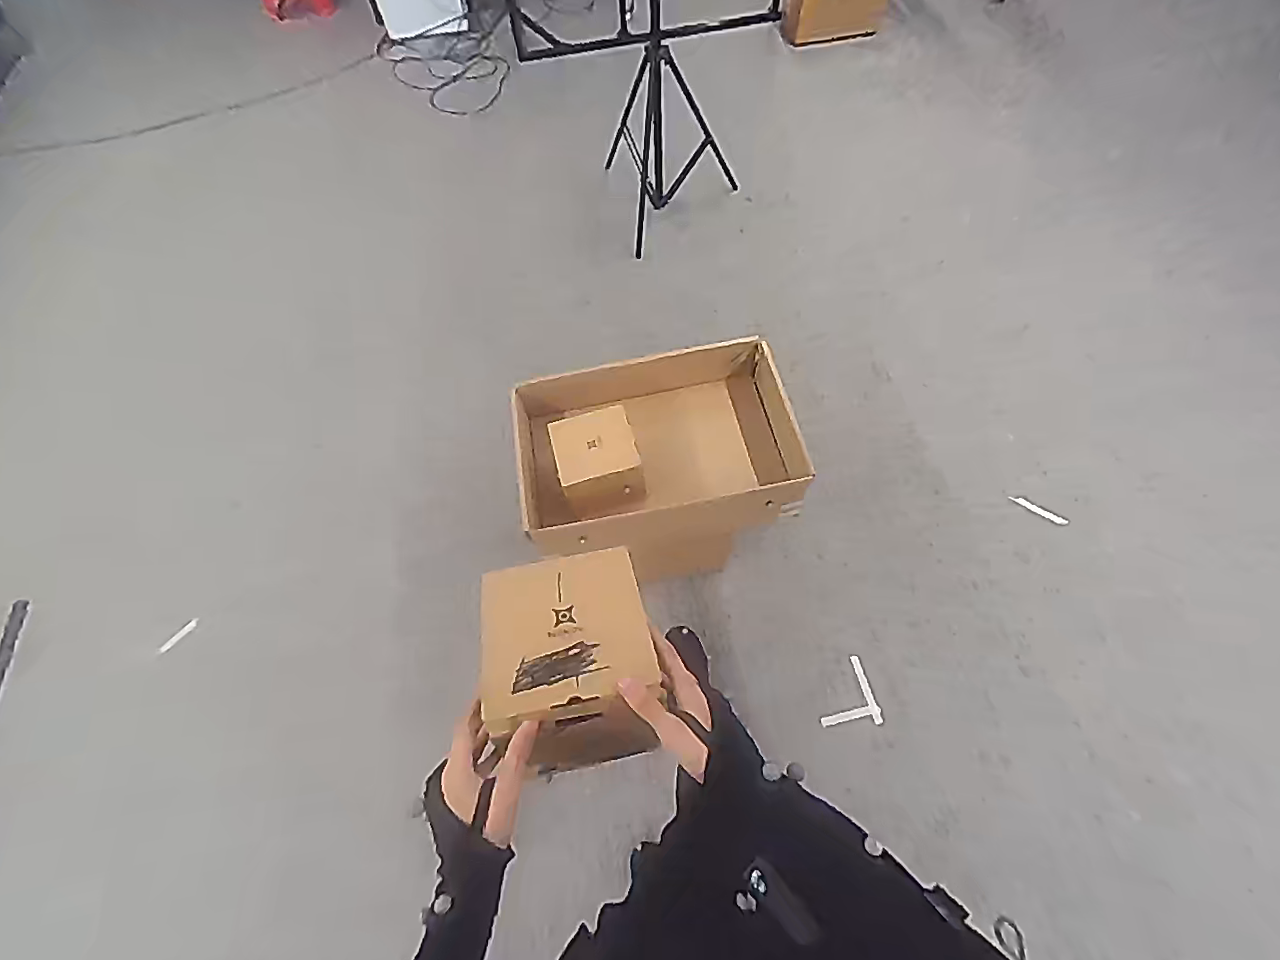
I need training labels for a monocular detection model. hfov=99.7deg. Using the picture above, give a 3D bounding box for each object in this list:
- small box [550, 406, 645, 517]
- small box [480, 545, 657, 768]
[{"bbox_3d":[-0.089,-0.038,1.222,0.179,0.176,0.168,-15,62,-3],"label":"small box"},{"bbox_3d":[-0.077,0.203,0.607,0.168,0.176,0.179,-10,48,-8],"label":"small box"}]
